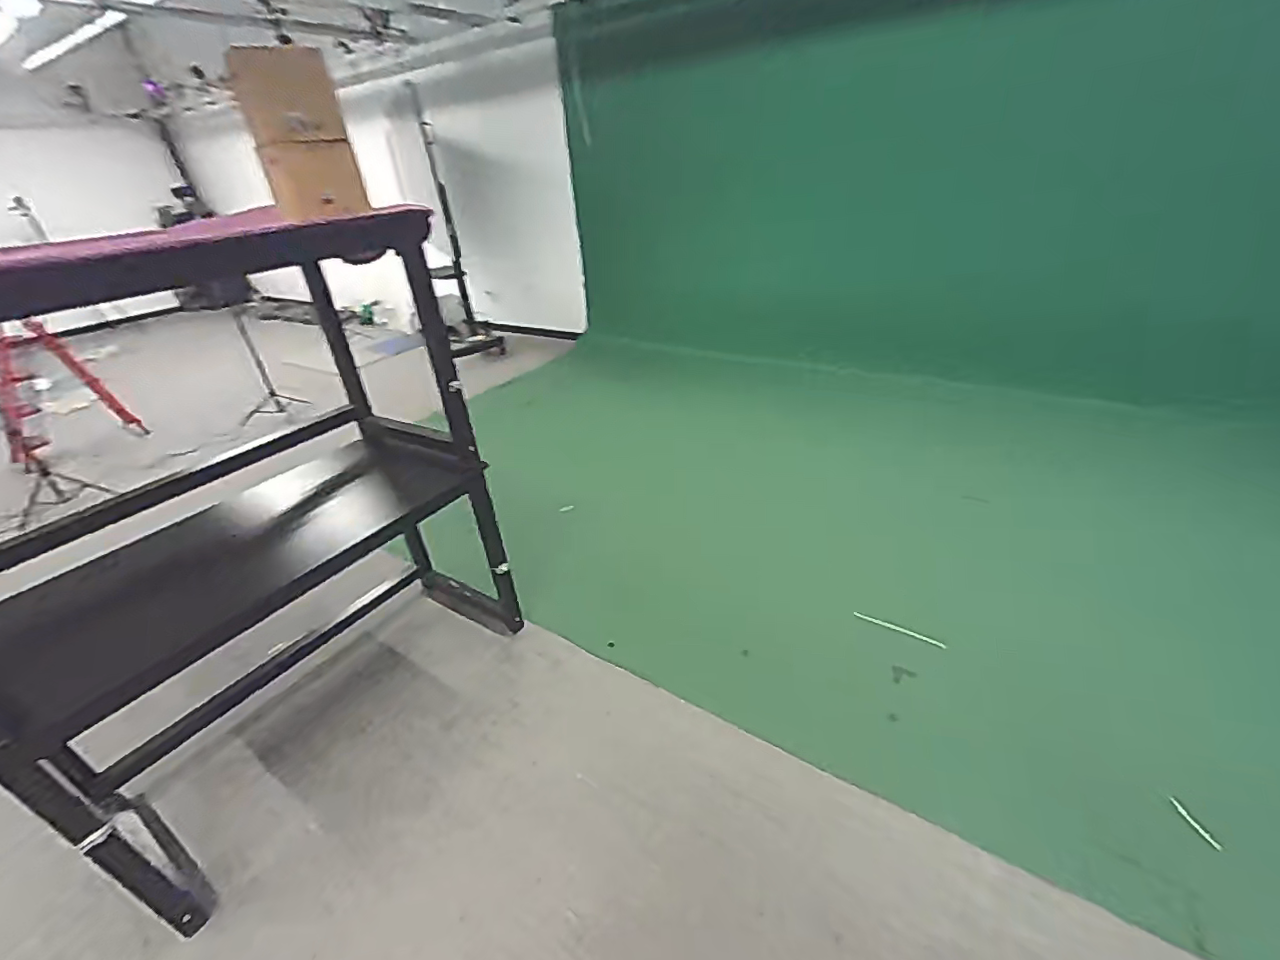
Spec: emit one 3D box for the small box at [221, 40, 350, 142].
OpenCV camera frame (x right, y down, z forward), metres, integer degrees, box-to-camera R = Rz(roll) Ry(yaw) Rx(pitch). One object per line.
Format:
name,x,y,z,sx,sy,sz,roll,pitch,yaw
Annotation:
small box,-0.766,-0.835,1.176,0.168,0.176,0.179,-30,41,-32

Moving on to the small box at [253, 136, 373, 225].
small box,-0.761,-0.700,1.266,0.179,0.176,0.168,25,42,37
